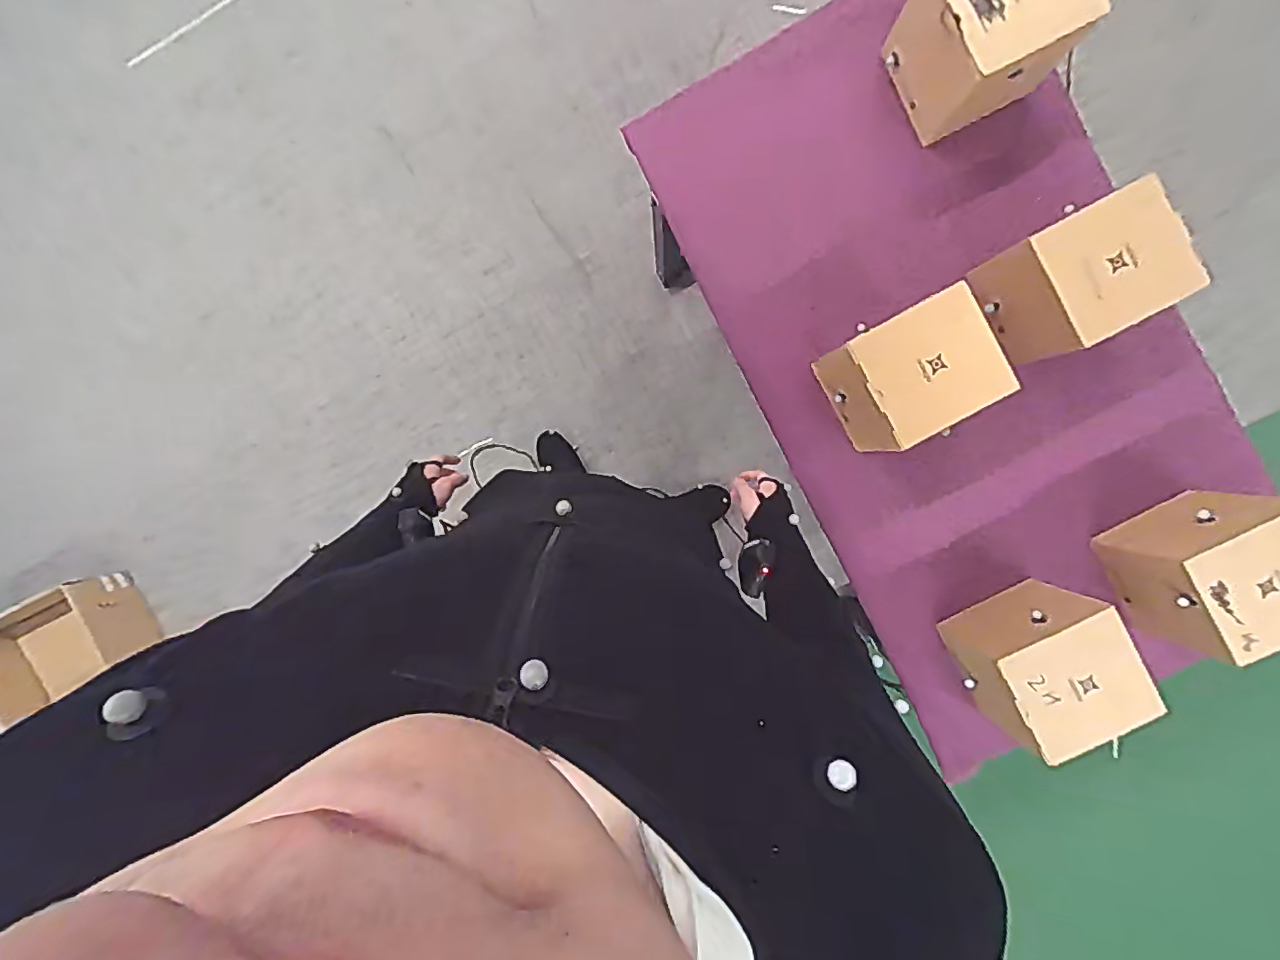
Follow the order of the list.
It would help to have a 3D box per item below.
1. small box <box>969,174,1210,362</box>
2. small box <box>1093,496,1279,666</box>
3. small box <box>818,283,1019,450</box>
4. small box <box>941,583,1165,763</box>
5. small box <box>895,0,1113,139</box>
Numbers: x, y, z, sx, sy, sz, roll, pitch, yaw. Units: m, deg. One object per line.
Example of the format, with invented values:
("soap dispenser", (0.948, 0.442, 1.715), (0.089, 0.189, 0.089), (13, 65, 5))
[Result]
("small box", (0.628, -0.289, 0.780), (0.179, 0.176, 0.168), (-27, 91, 5))
("small box", (0.838, 0.133, 0.793), (0.179, 0.176, 0.168), (-29, 91, 4))
("small box", (0.395, -0.157, 0.799), (0.179, 0.176, 0.168), (-29, 92, 4))
("small box", (0.600, 0.274, 0.810), (0.179, 0.176, 0.168), (-26, 90, 4))
("small box", (0.488, -0.630, 0.761), (0.179, 0.176, 0.168), (-26, 93, 5))
